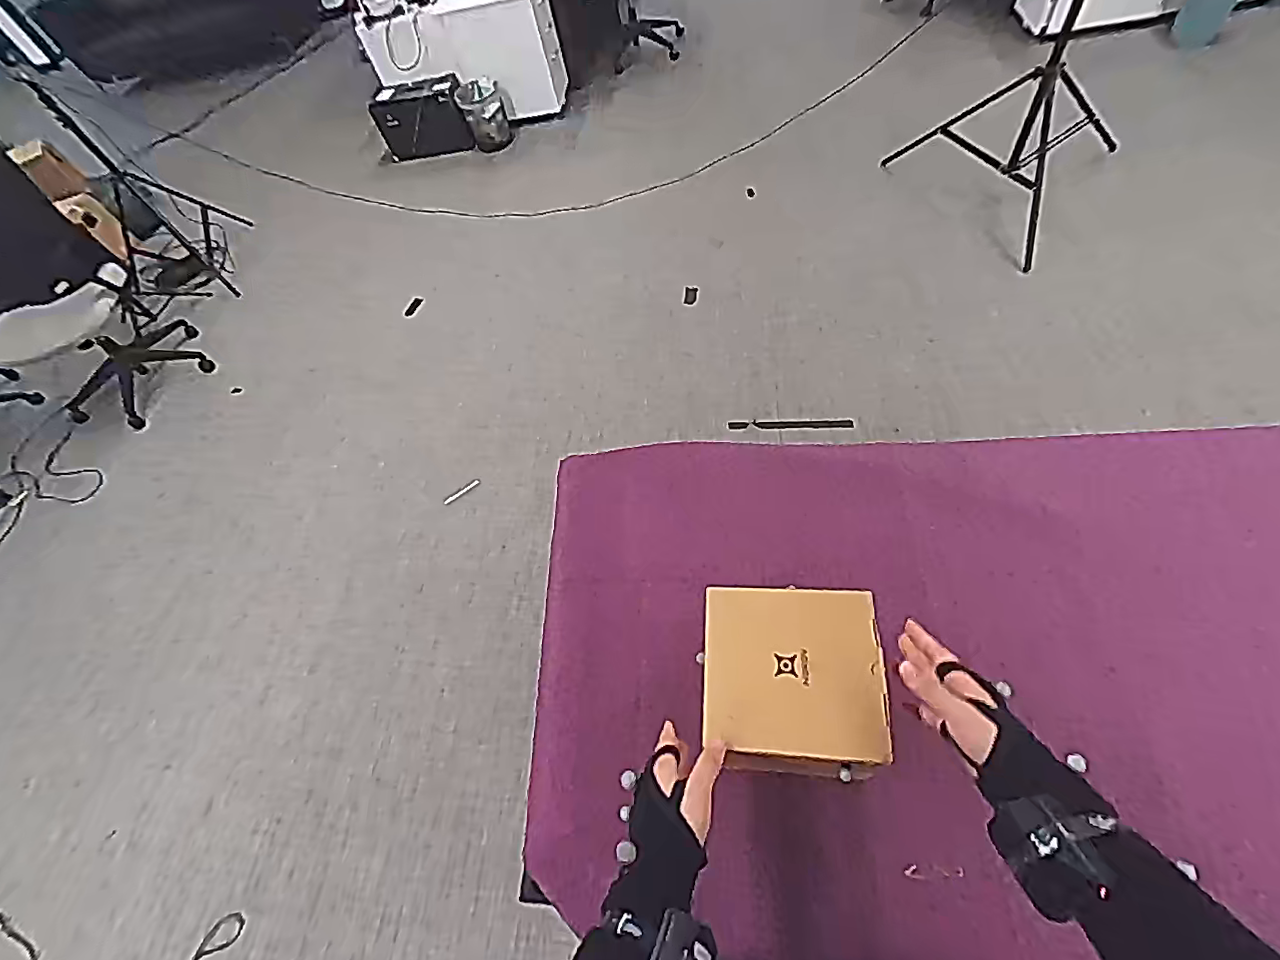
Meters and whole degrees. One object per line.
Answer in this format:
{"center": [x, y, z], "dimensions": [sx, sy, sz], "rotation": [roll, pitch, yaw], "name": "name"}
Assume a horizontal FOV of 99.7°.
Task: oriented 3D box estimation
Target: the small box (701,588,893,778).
{"center": [0.165, 0.231, 0.609], "dimensions": [0.179, 0.176, 0.168], "rotation": [-1, 57, 10], "name": "small box"}
